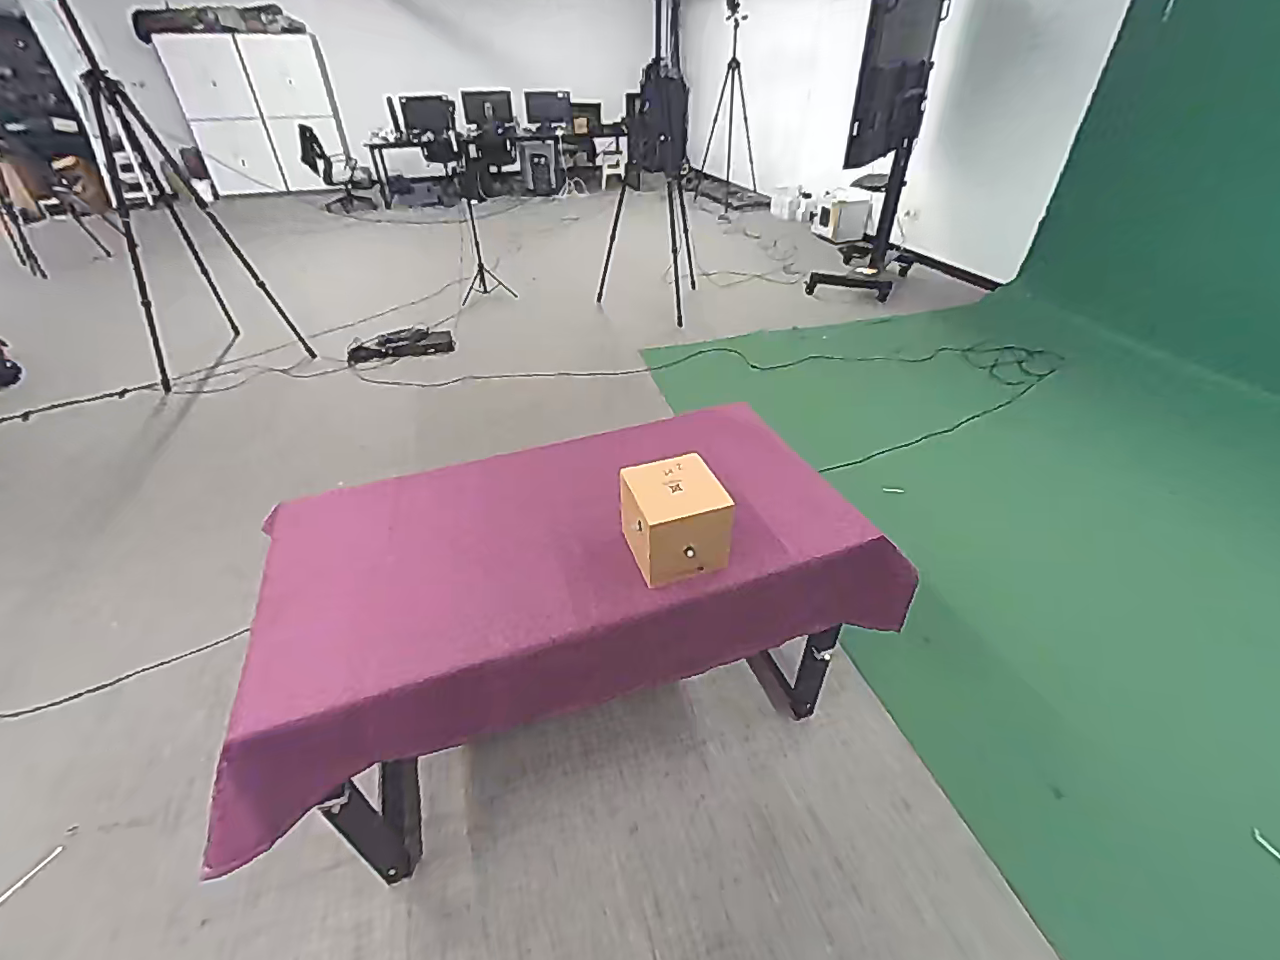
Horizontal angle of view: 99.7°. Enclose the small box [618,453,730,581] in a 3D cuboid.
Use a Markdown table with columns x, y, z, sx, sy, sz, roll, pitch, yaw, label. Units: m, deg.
| x | y | z | sx | sy | sz | roll | pitch | yaw | label |
| --- | --- | --- | --- | --- | --- | --- | --- | --- | --- |
| 0.062 | 0.077 | 1.057 | 0.168 | 0.176 | 0.179 | -13 | 39 | -15 | small box |
